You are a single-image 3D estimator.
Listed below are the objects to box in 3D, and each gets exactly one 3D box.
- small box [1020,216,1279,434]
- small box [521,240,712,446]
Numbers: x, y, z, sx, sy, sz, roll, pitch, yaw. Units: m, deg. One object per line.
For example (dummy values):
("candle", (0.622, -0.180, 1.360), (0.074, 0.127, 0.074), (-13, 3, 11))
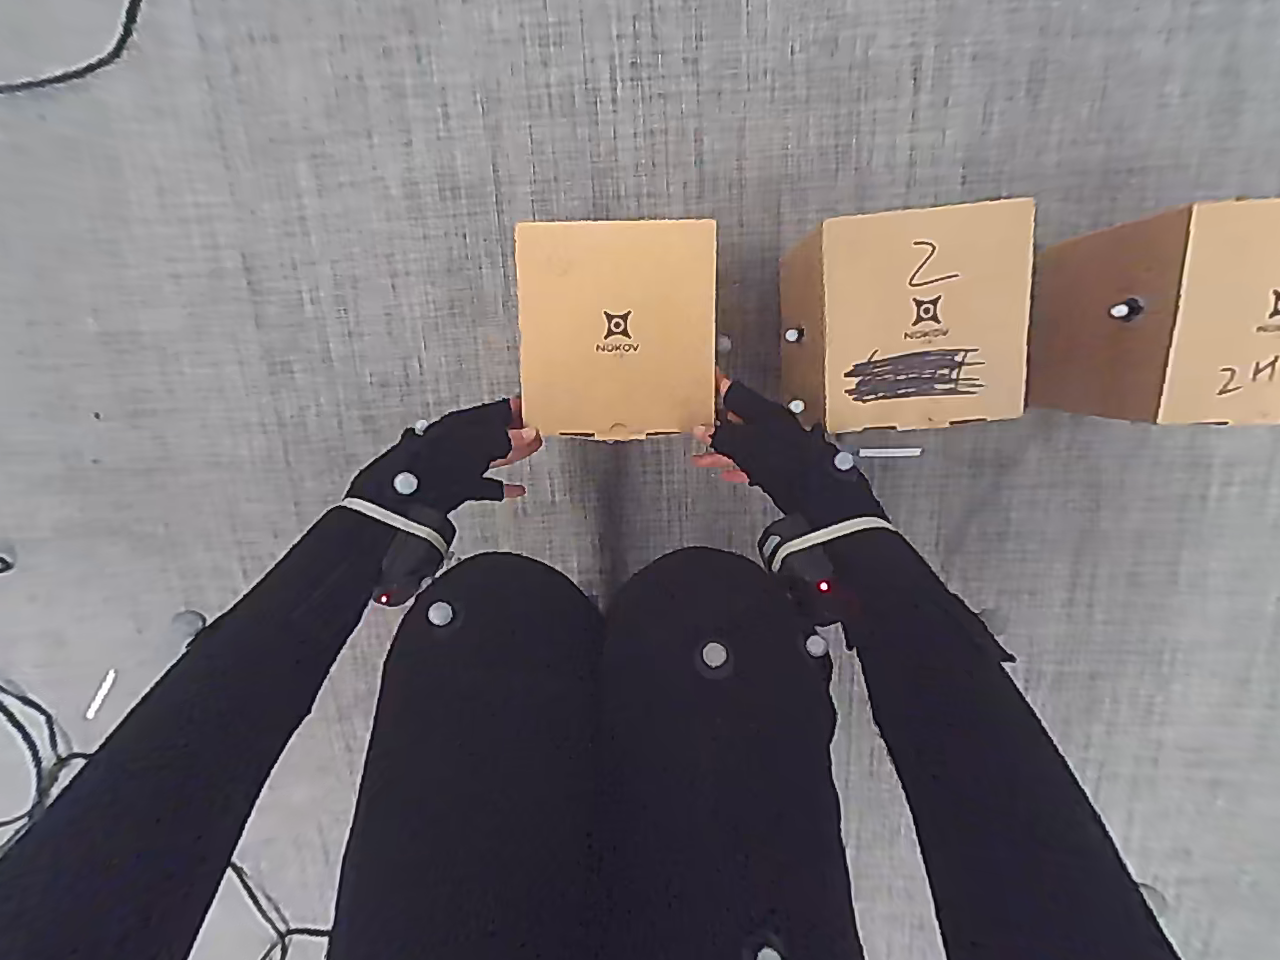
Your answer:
("small box", (0.509, -0.143, 0.527), (0.168, 0.176, 0.179), (-2, 102, 4))
("small box", (-0.019, -0.127, 0.547), (0.168, 0.176, 0.179), (-1, 99, 2))
